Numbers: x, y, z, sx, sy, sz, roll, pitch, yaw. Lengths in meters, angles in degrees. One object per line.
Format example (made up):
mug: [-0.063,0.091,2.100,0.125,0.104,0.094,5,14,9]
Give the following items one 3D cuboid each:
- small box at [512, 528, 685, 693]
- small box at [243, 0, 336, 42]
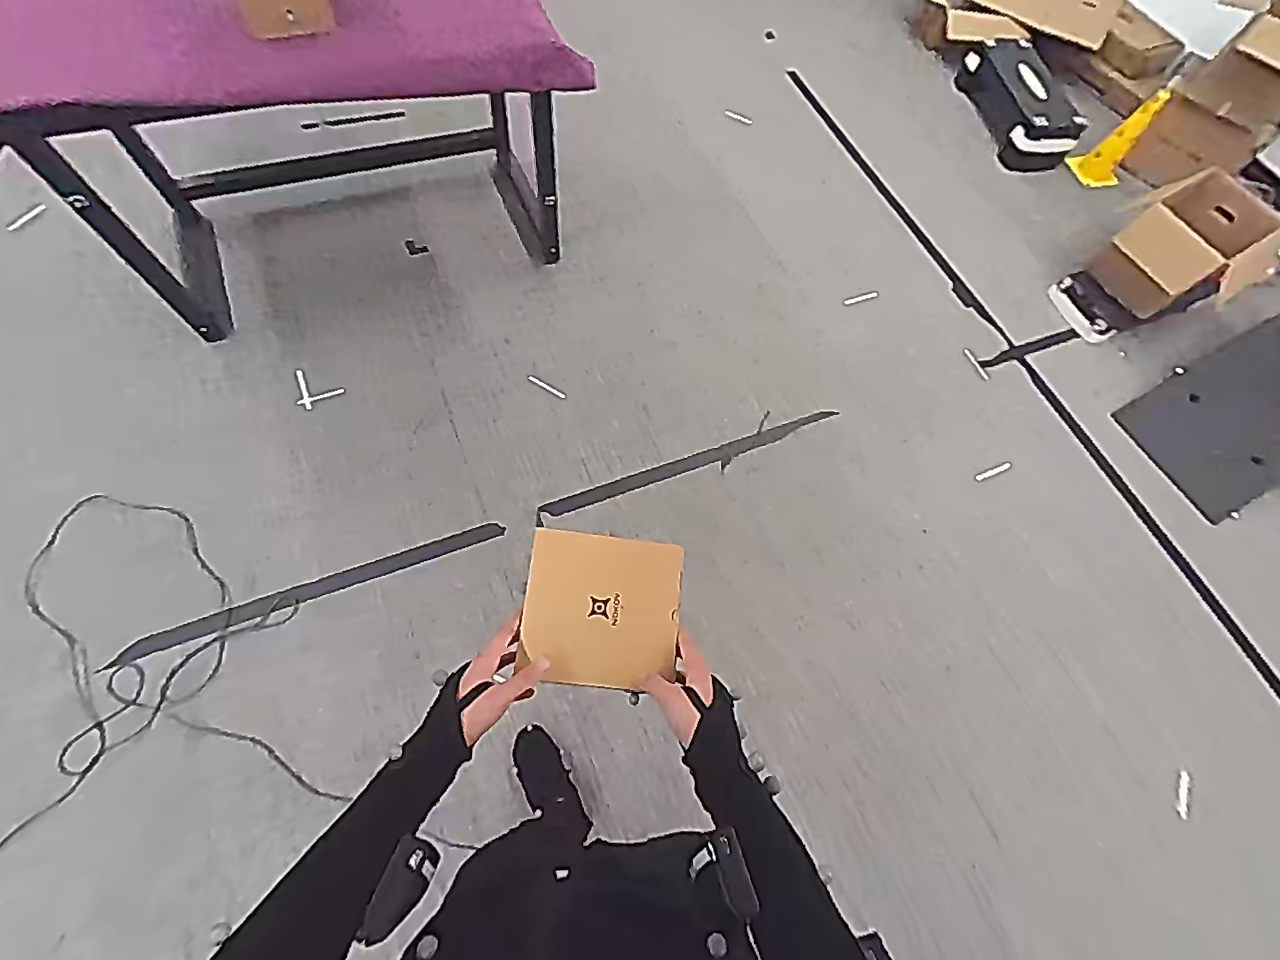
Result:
small box: [-0.051,0.167,0.669,0.179,0.176,0.168,8,70,-7]
small box: [-0.798,-1.114,1.195,0.179,0.176,0.168,-22,69,-16]
